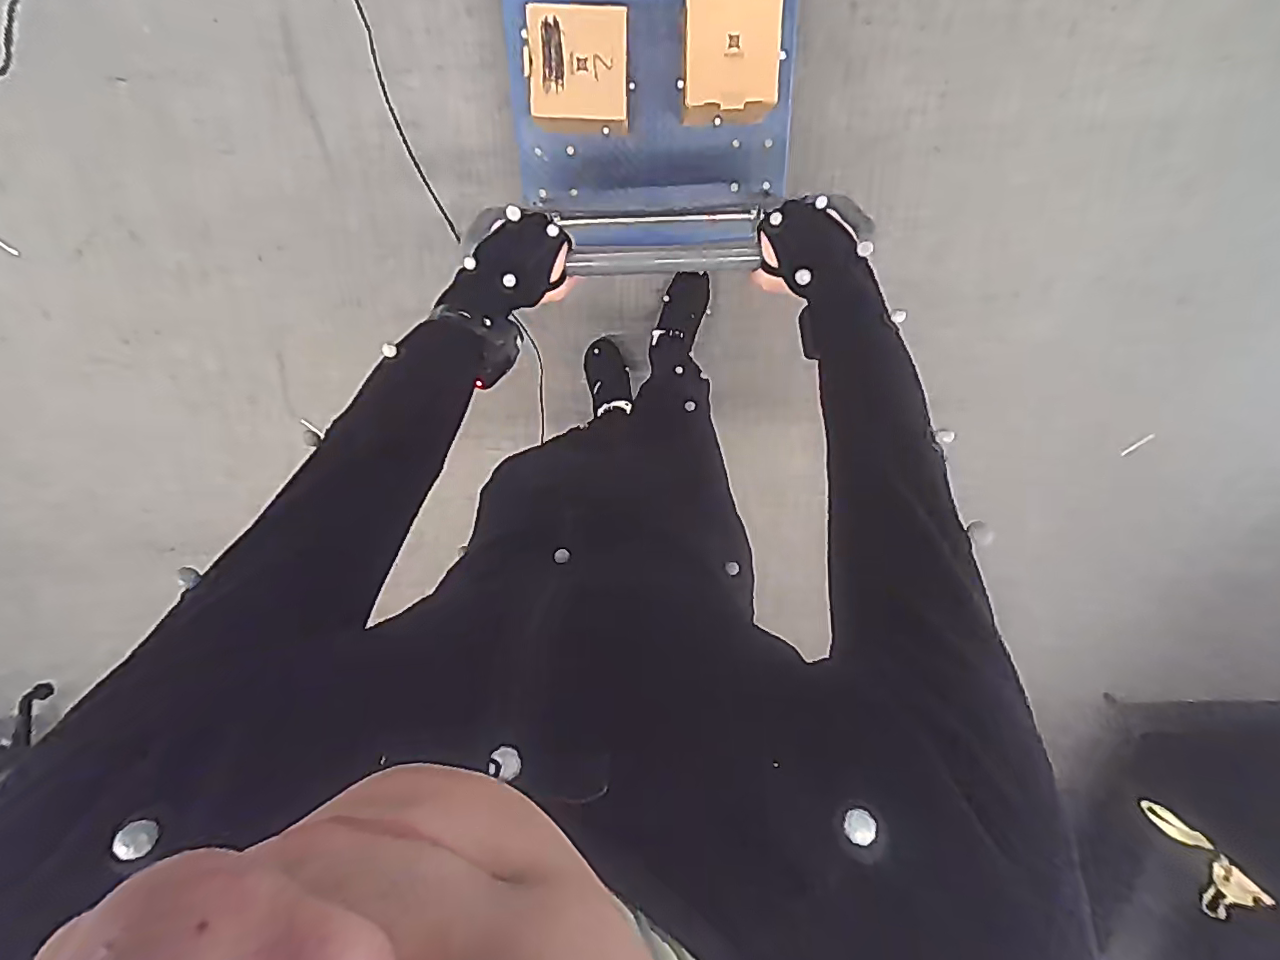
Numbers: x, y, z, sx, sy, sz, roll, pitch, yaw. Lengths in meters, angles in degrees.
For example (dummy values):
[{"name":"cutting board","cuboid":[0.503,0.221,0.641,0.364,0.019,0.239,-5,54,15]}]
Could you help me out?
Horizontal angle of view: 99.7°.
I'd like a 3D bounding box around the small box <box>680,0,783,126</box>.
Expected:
[{"name":"small box","cuboid":[0.163,-0.790,1.021,0.168,0.176,0.179,-2,114,1]}]
